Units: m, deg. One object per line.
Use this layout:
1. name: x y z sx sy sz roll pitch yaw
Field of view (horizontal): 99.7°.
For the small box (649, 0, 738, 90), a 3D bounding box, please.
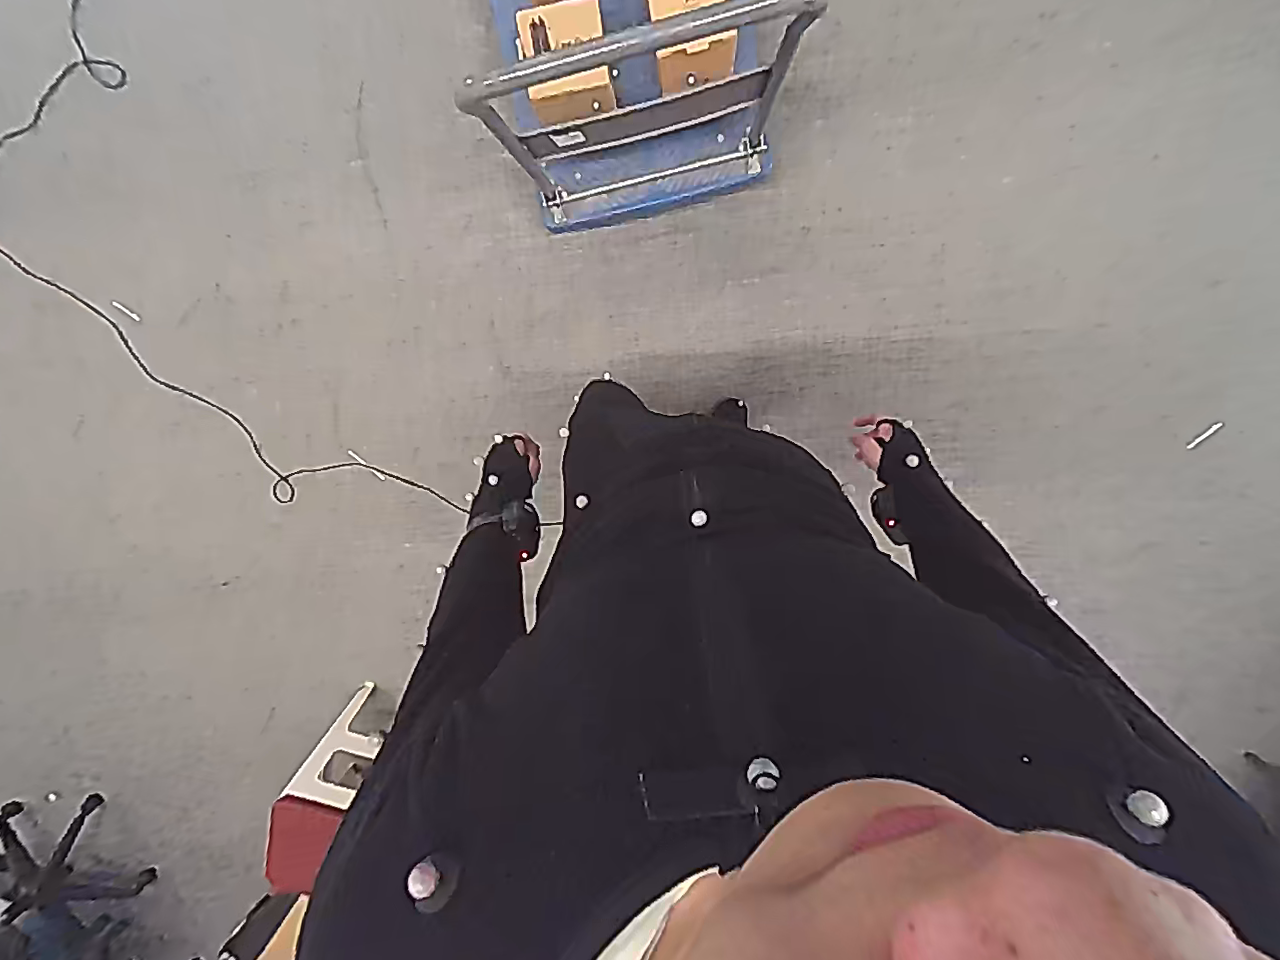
1. small box: 0.111 -0.995 1.170 0.168 0.176 0.179 -10 101 7
